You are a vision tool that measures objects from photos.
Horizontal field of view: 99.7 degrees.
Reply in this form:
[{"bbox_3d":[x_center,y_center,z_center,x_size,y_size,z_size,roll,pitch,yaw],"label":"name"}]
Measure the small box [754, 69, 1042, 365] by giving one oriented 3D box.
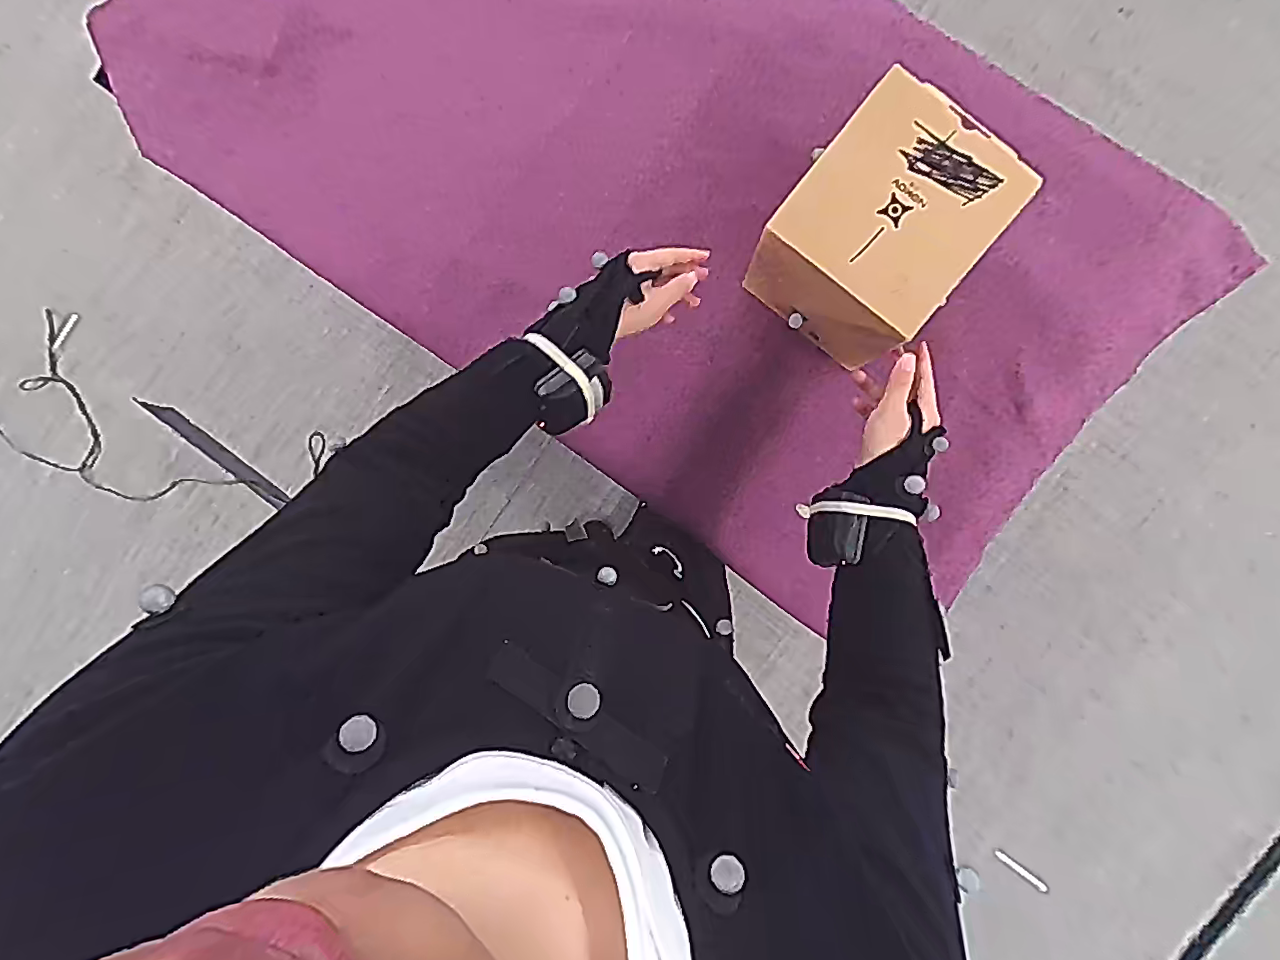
[{"bbox_3d":[0.235,-0.243,0.550,0.168,0.176,0.179,40,94,2],"label":"small box"}]
